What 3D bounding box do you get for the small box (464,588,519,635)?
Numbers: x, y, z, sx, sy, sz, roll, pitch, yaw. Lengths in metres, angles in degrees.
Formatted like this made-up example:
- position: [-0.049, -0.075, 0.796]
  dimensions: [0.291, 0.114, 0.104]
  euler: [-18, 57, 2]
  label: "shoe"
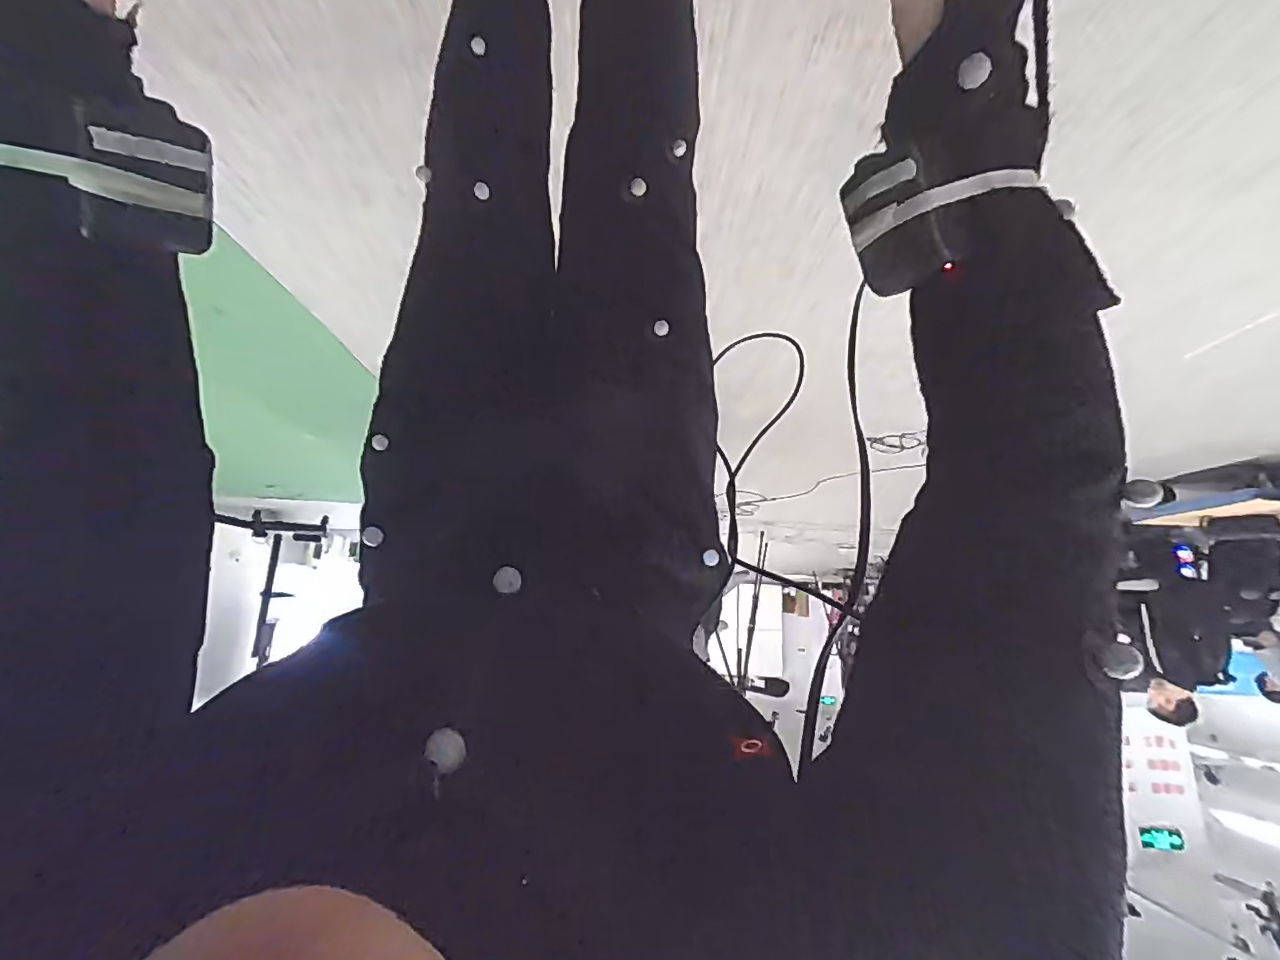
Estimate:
- position: [-0.576, 0.513, 2.121]
  dimensions: [0.179, 0.176, 0.168]
  euler: [3, 167, -2]
  label: "small box"
